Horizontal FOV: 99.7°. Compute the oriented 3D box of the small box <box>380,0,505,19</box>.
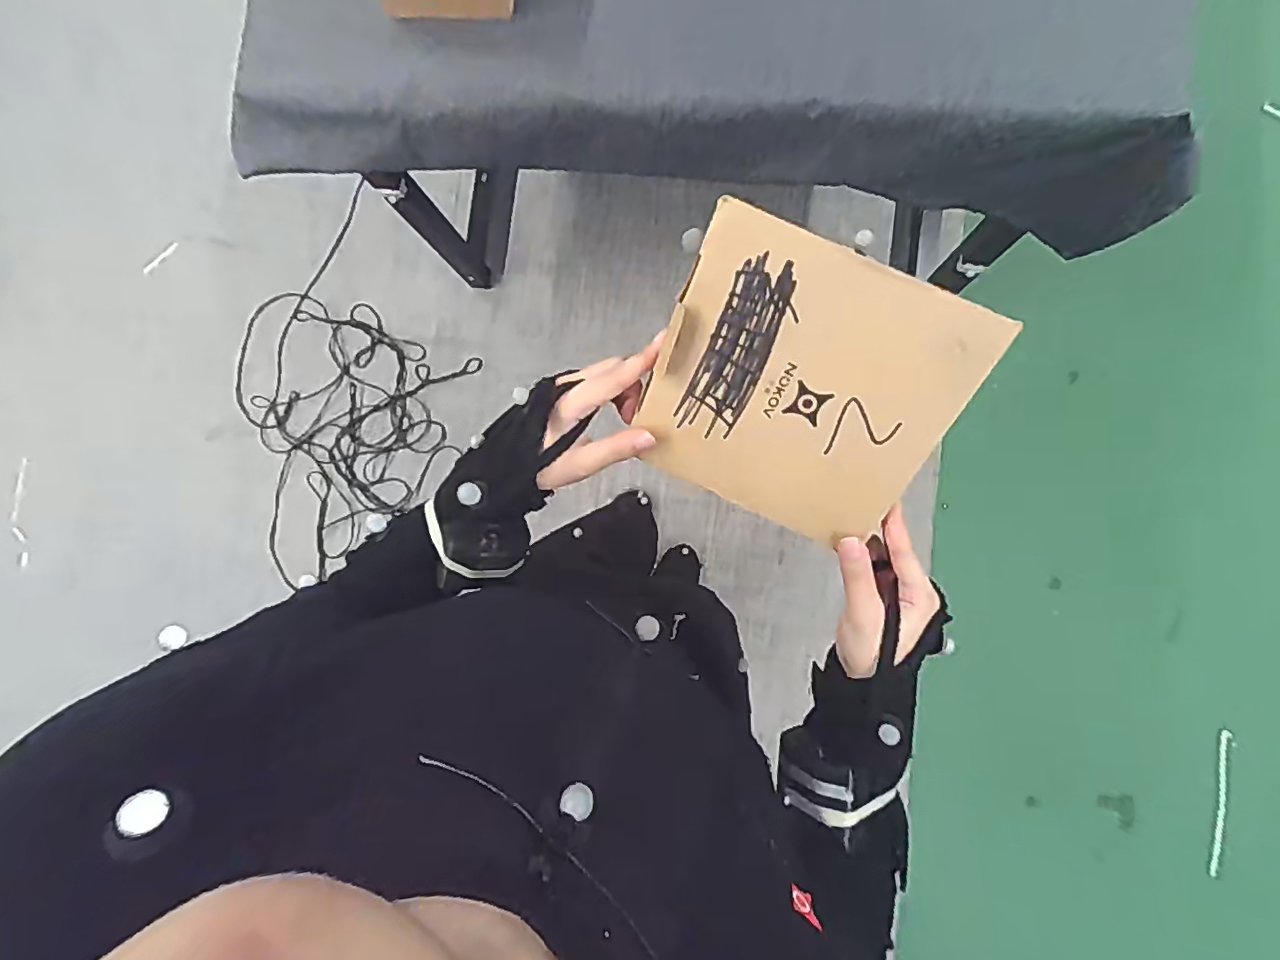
[{"bbox_3d":[-0.254,-0.699,0.645,0.179,0.176,0.168,5,85,7],"label":"small box"}]
